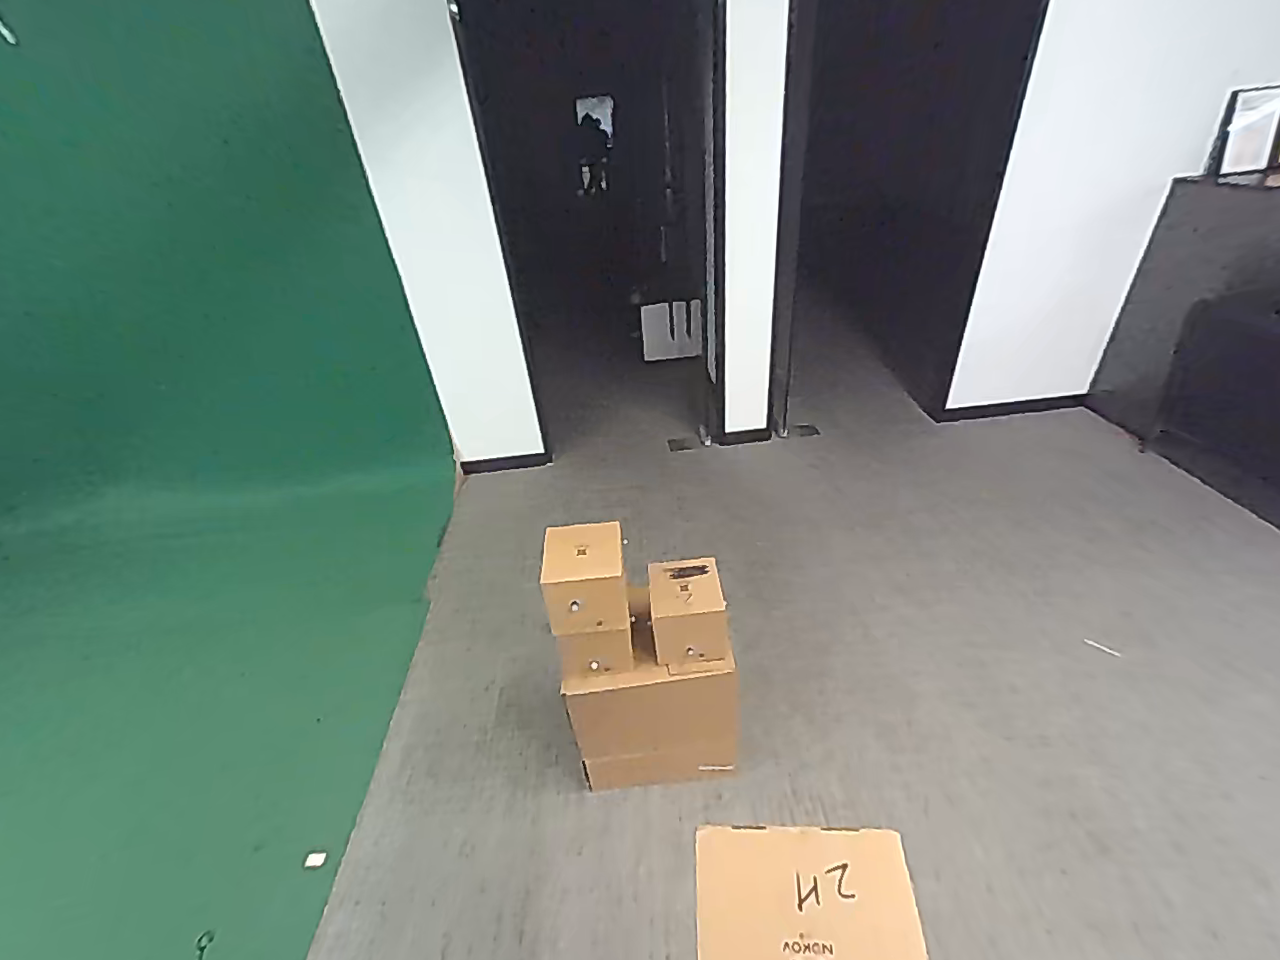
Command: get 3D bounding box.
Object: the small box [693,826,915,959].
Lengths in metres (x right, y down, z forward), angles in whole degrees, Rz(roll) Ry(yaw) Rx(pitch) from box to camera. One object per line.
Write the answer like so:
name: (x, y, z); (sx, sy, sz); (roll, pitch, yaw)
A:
small box: (0.136, 0.414, 0.461); (0.168, 0.176, 0.179); (-4, 48, 10)

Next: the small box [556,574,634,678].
small box: (-0.104, 0.348, 1.298); (0.168, 0.176, 0.179); (-5, 36, -1)

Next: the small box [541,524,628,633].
small box: (-0.116, 0.222, 1.194); (0.168, 0.176, 0.179); (-5, 35, -1)
